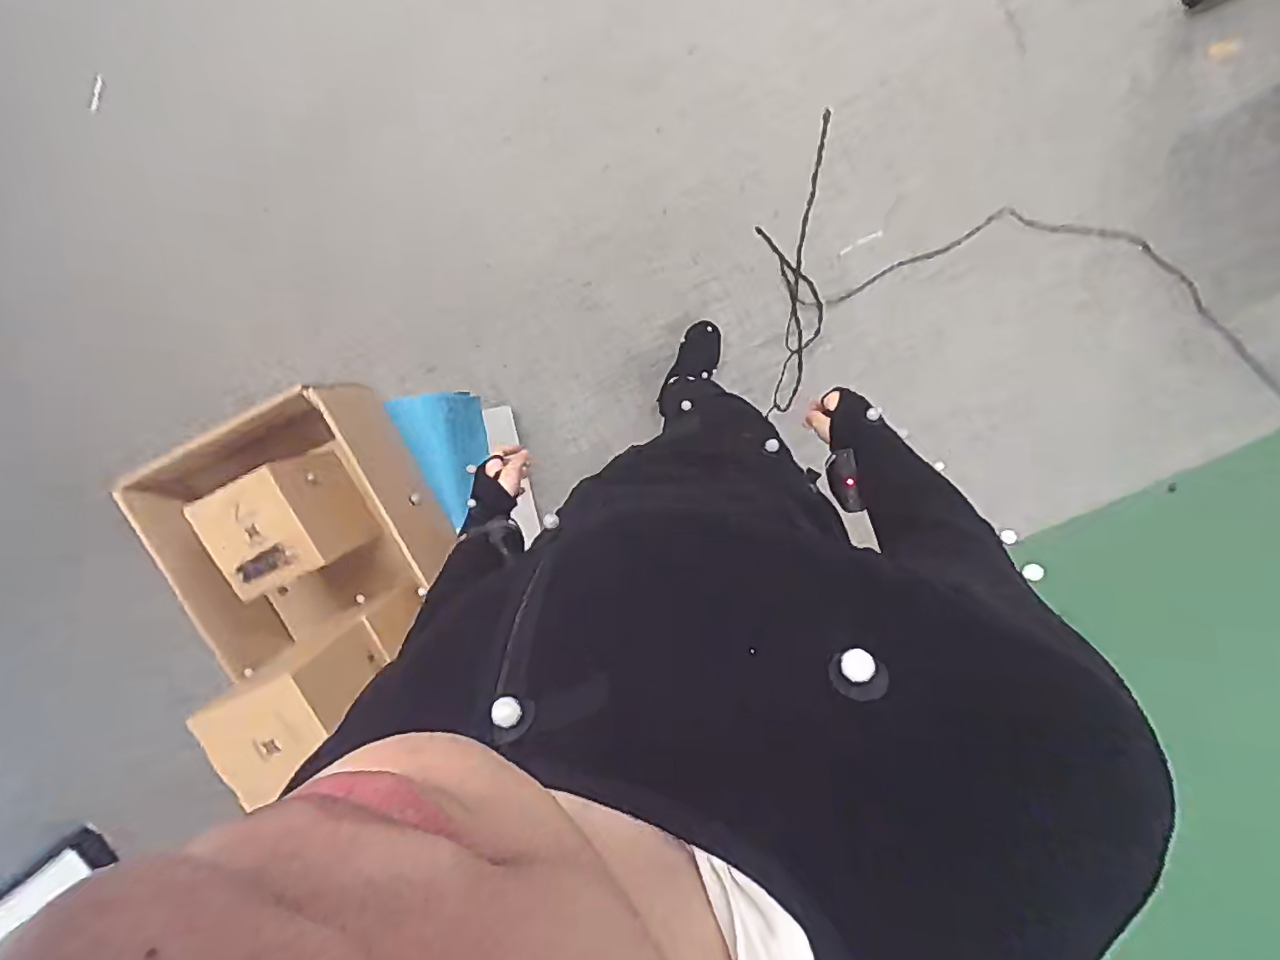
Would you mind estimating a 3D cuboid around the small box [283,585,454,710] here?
[{"bbox_3d":[-0.468,0.314,0.960,0.179,0.176,0.168,-25,98,9],"label":"small box"}]

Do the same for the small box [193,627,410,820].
[{"bbox_3d":[-0.485,0.348,0.801,0.179,0.176,0.168,-25,98,8],"label":"small box"}]
